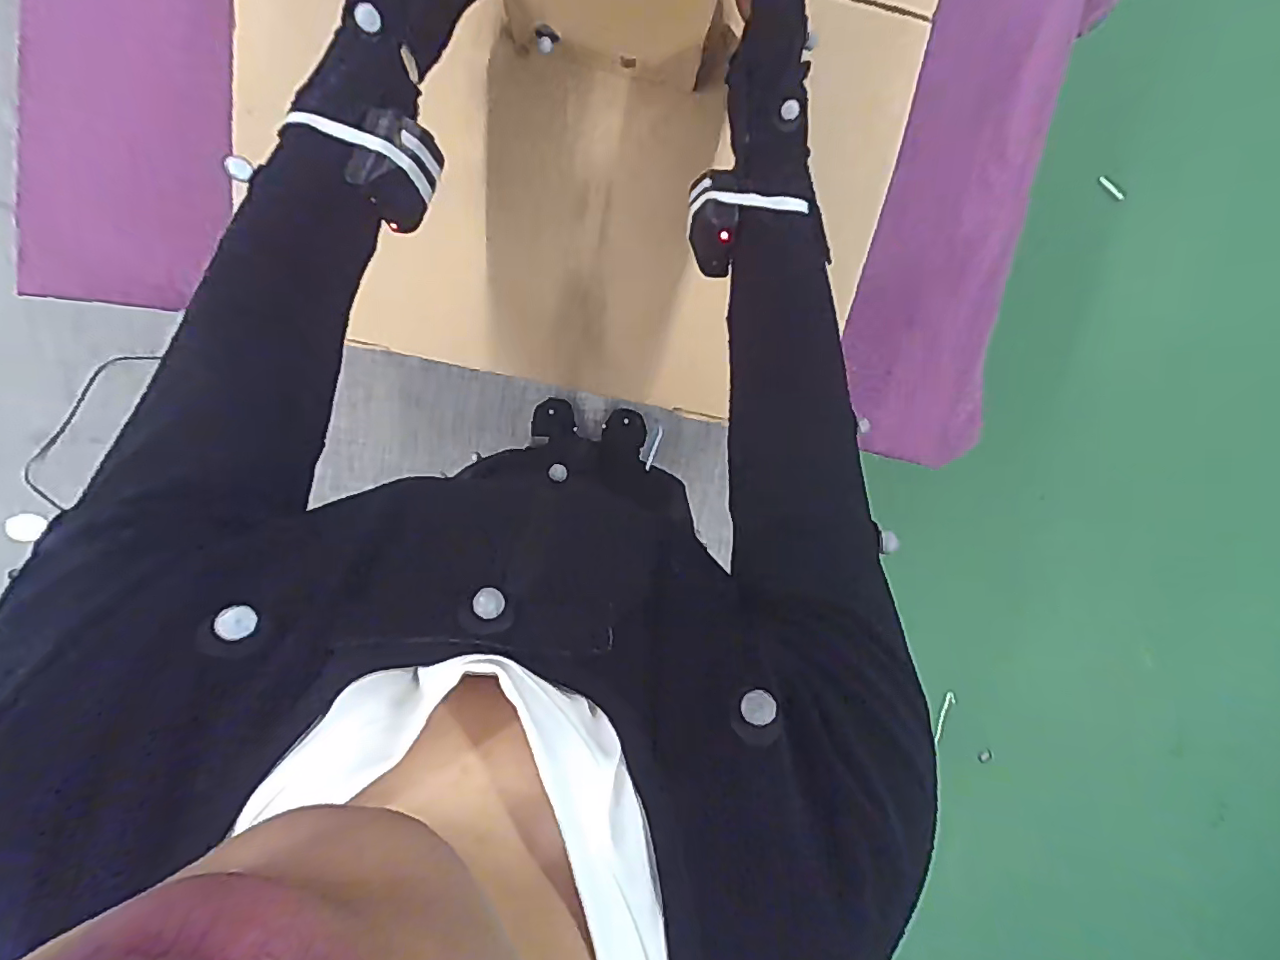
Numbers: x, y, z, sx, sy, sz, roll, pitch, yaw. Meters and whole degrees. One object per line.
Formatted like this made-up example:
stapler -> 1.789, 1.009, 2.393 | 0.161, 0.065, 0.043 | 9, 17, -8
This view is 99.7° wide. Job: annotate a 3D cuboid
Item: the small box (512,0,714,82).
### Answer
small box -> -0.010, -0.447, 0.402 | 0.168, 0.176, 0.179 | 11, 97, -5
